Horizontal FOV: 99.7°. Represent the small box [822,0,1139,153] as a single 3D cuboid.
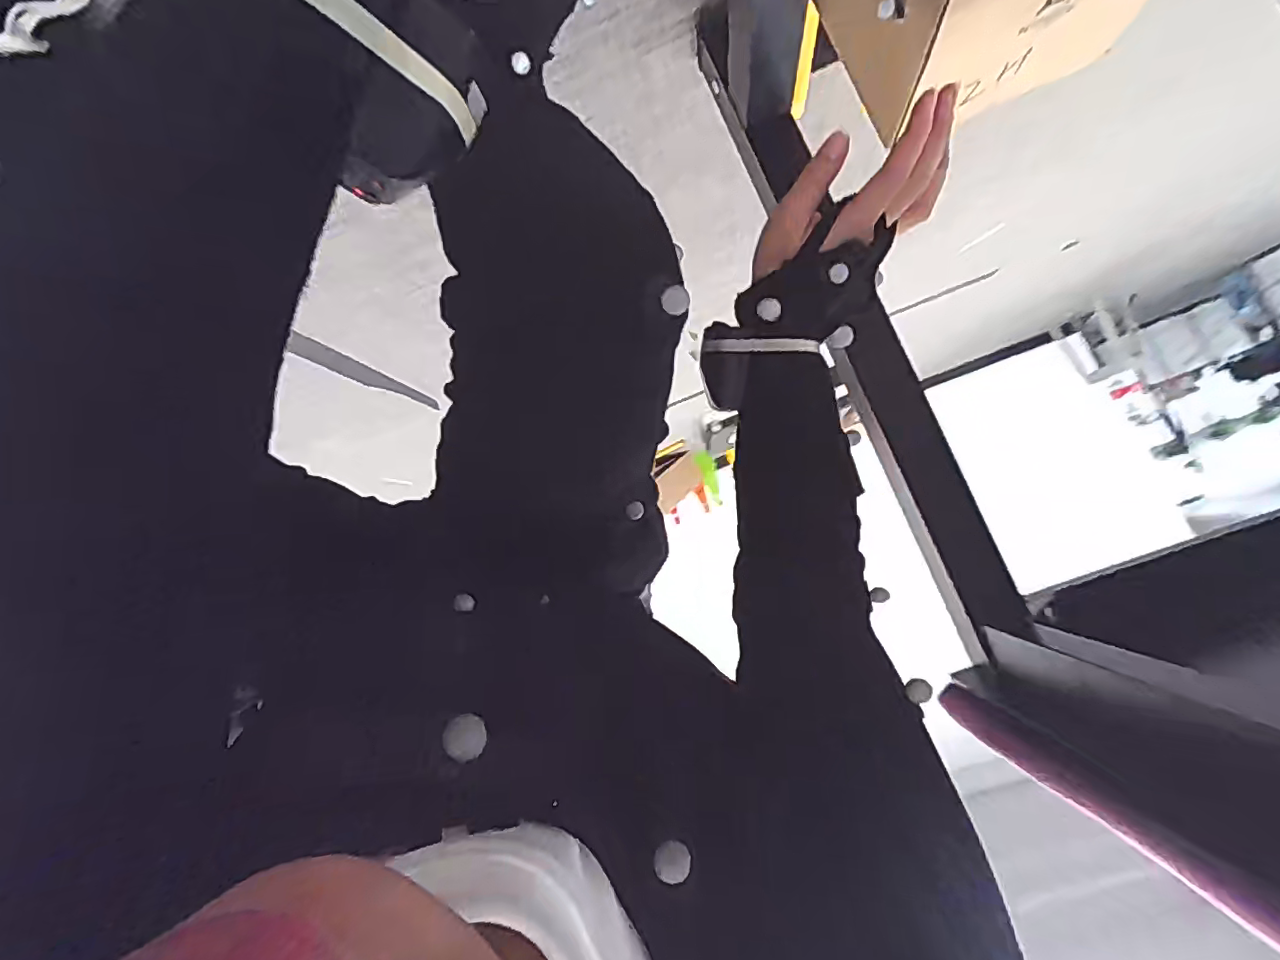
[{"bbox_3d":[0.230,-0.376,0.357,0.168,0.176,0.179,-20,171,7],"label":"small box"}]
